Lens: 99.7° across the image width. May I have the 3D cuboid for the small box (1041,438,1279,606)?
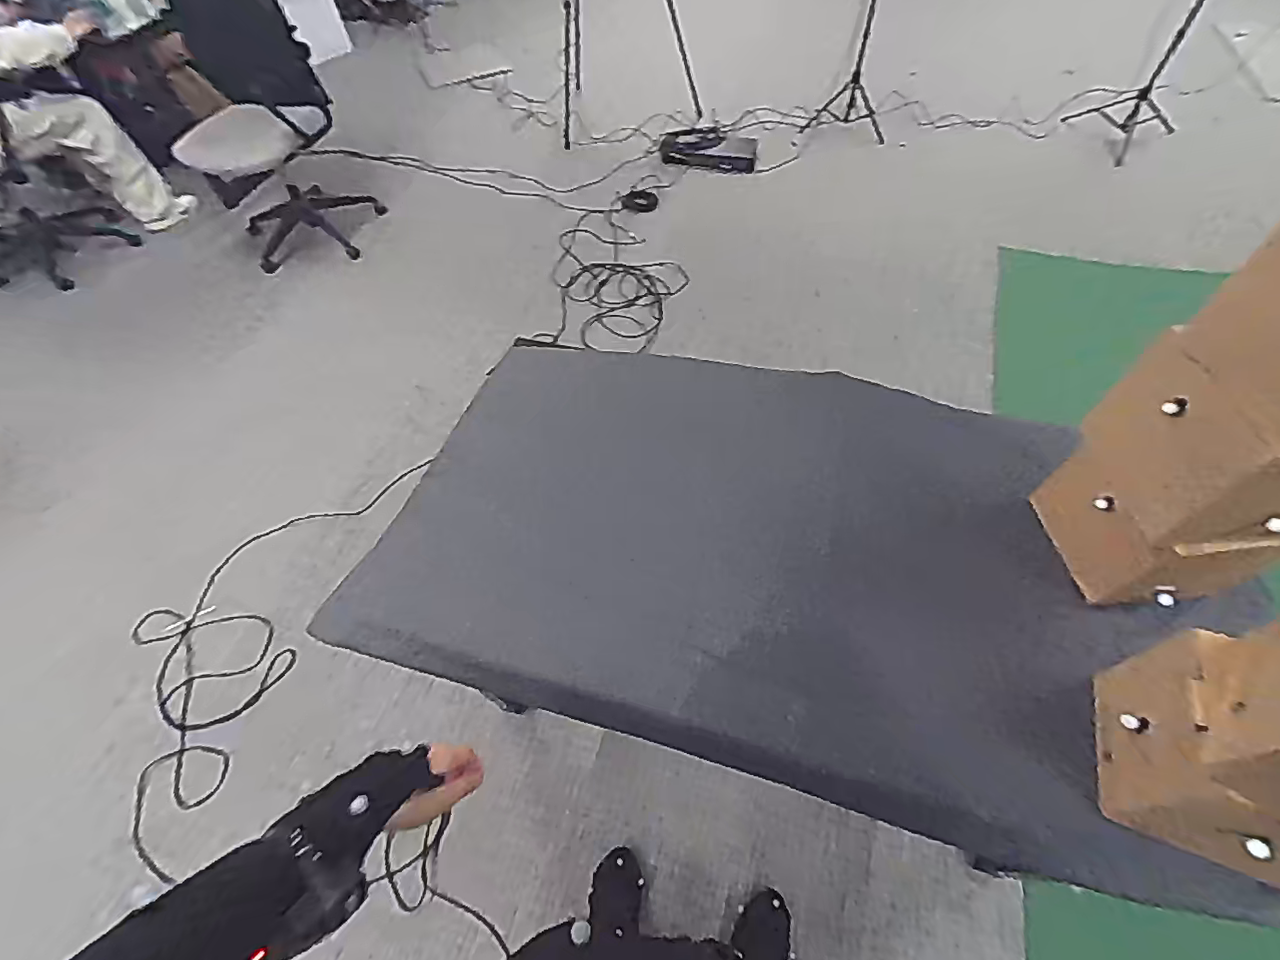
[{"bbox_3d":[0.672,0.045,0.698,0.168,0.176,0.179,-7,57,3],"label":"small box"}]

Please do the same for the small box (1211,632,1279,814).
[{"bbox_3d":[0.599,0.198,0.398,0.179,0.176,0.168,38,64,26],"label":"small box"}]

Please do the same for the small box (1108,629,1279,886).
[{"bbox_3d":[0.610,0.281,0.539,0.179,0.176,0.168,17,56,17],"label":"small box"}]

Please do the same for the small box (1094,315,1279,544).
[{"bbox_3d":[0.637,-0.050,0.566,0.168,0.176,0.179,-4,56,6],"label":"small box"}]
